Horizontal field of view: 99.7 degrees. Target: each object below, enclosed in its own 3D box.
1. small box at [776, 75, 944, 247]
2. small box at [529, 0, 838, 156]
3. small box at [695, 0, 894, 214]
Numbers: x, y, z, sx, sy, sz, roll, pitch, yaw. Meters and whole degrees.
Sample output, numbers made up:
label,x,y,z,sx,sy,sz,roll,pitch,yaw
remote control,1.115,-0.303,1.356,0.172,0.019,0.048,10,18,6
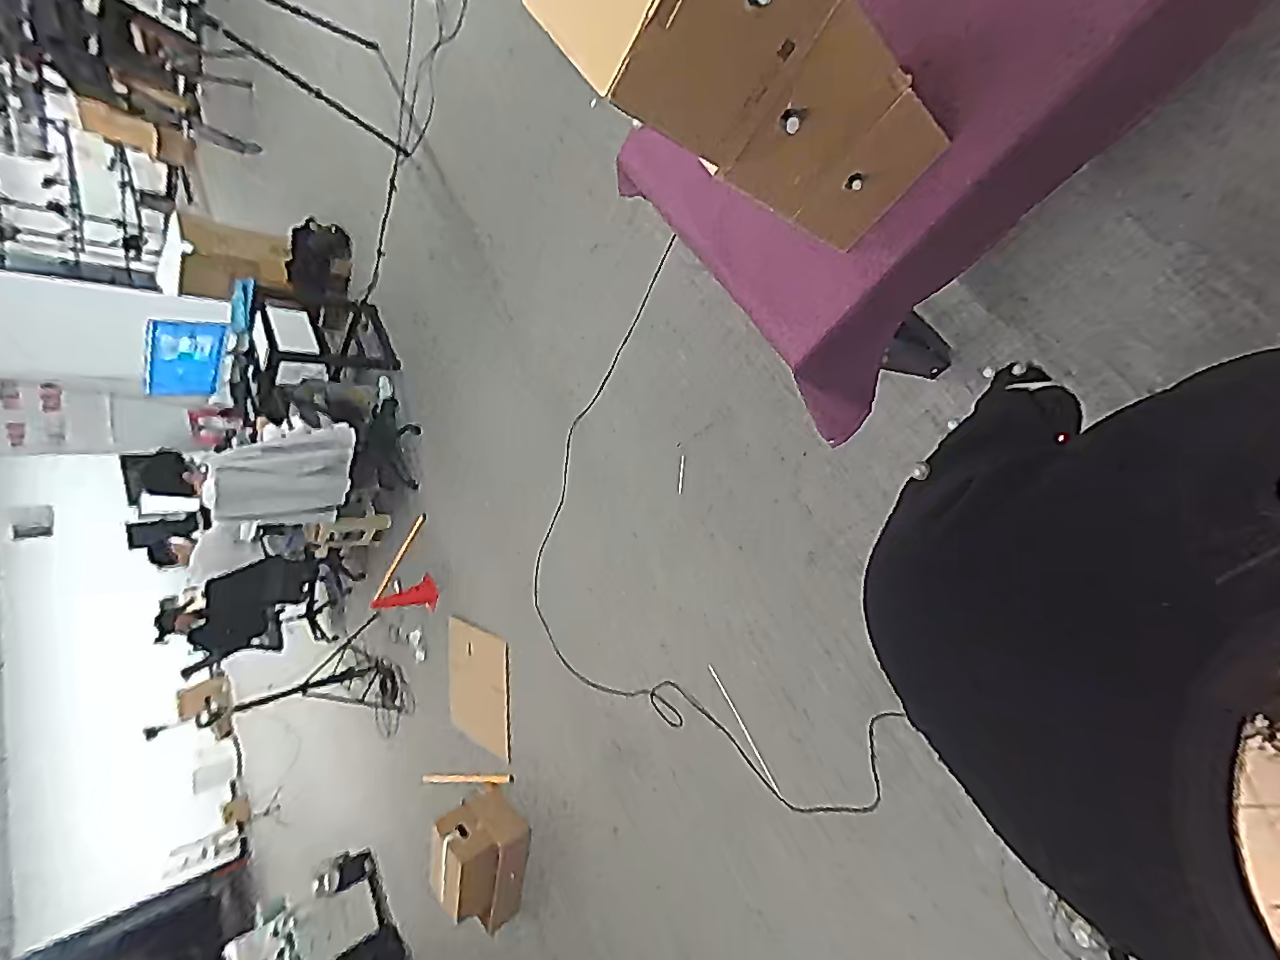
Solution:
label,x,y,z,sx,sy,sz,roll,pitch,yaw
small box,0.258,-0.440,0.712,0.179,0.176,0.168,-44,65,37
small box,0.038,-0.421,0.472,0.168,0.176,0.179,-47,62,36
small box,0.148,-0.433,0.592,0.179,0.176,0.168,-45,64,38
